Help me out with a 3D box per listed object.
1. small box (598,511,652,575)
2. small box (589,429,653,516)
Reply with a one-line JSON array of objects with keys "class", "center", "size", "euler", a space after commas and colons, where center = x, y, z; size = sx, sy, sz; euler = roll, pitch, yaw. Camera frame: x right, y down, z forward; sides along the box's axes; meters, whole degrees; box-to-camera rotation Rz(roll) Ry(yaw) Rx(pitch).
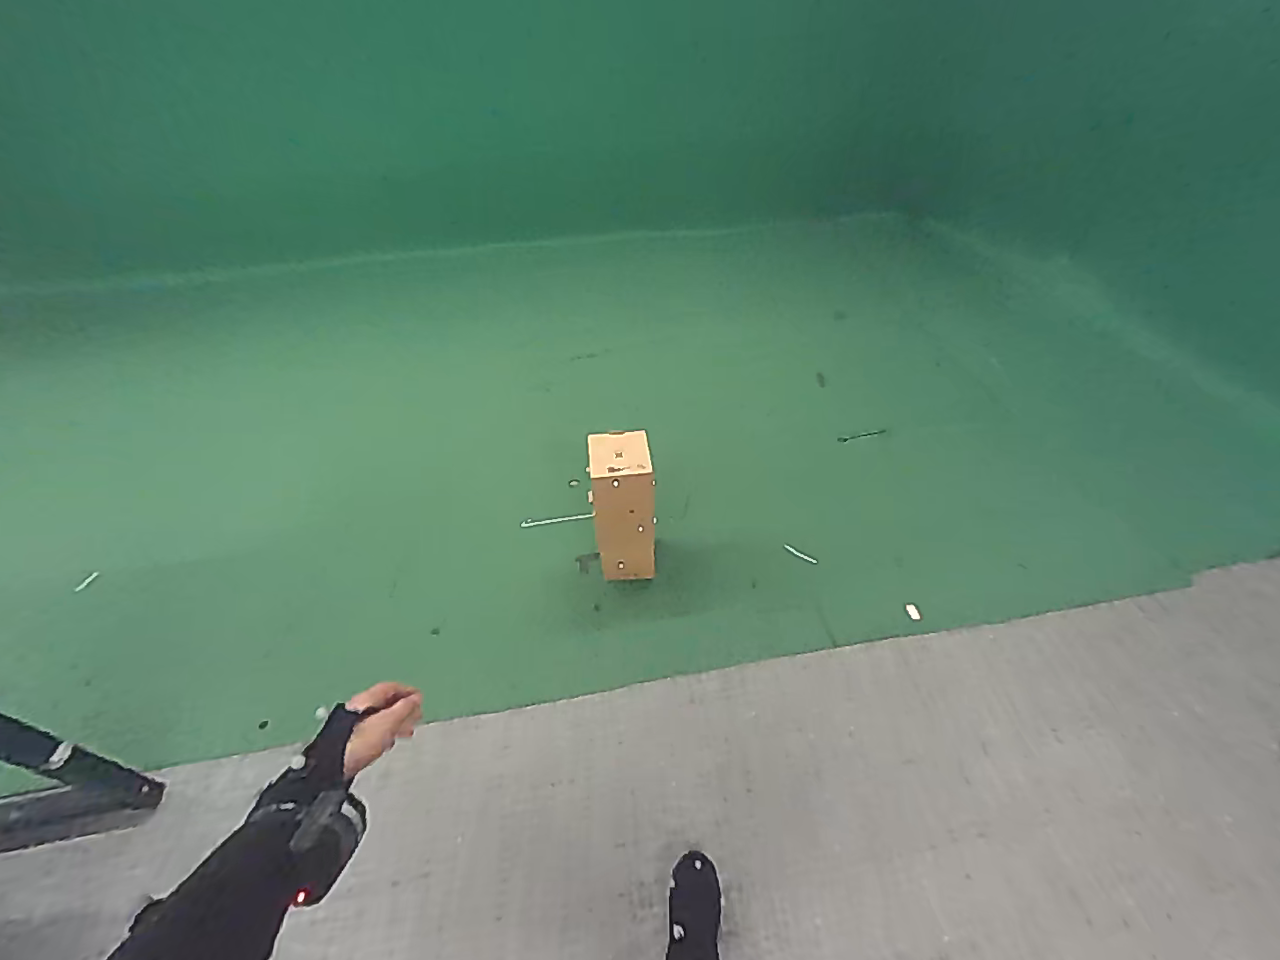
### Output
[{"class": "small box", "center": [-0.047, 0.200, 1.763], "size": [0.168, 0.176, 0.179], "euler": [-2, 46, -1]}, {"class": "small box", "center": [-0.057, -0.021, 1.519], "size": [0.168, 0.176, 0.179], "euler": [-5, 45, -4]}]
